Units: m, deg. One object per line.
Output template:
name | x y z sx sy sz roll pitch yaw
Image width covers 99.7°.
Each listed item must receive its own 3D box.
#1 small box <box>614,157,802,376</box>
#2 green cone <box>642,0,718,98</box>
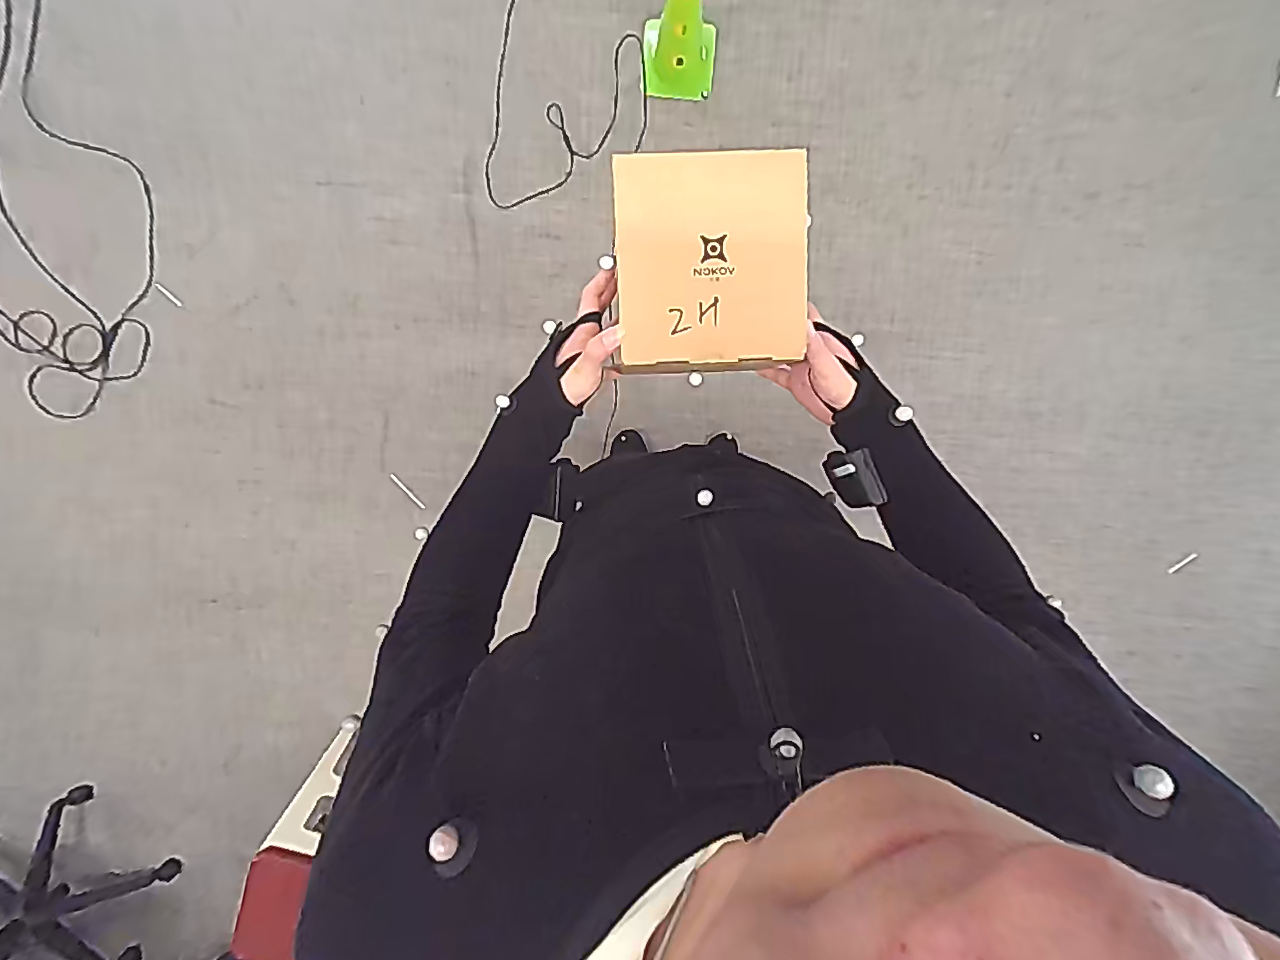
small box | 0.057 -0.201 0.554 0.168 0.176 0.179 -2 98 -1
green cone | 0.109 -1.162 1.336 0.202 0.368 0.200 5 95 0
